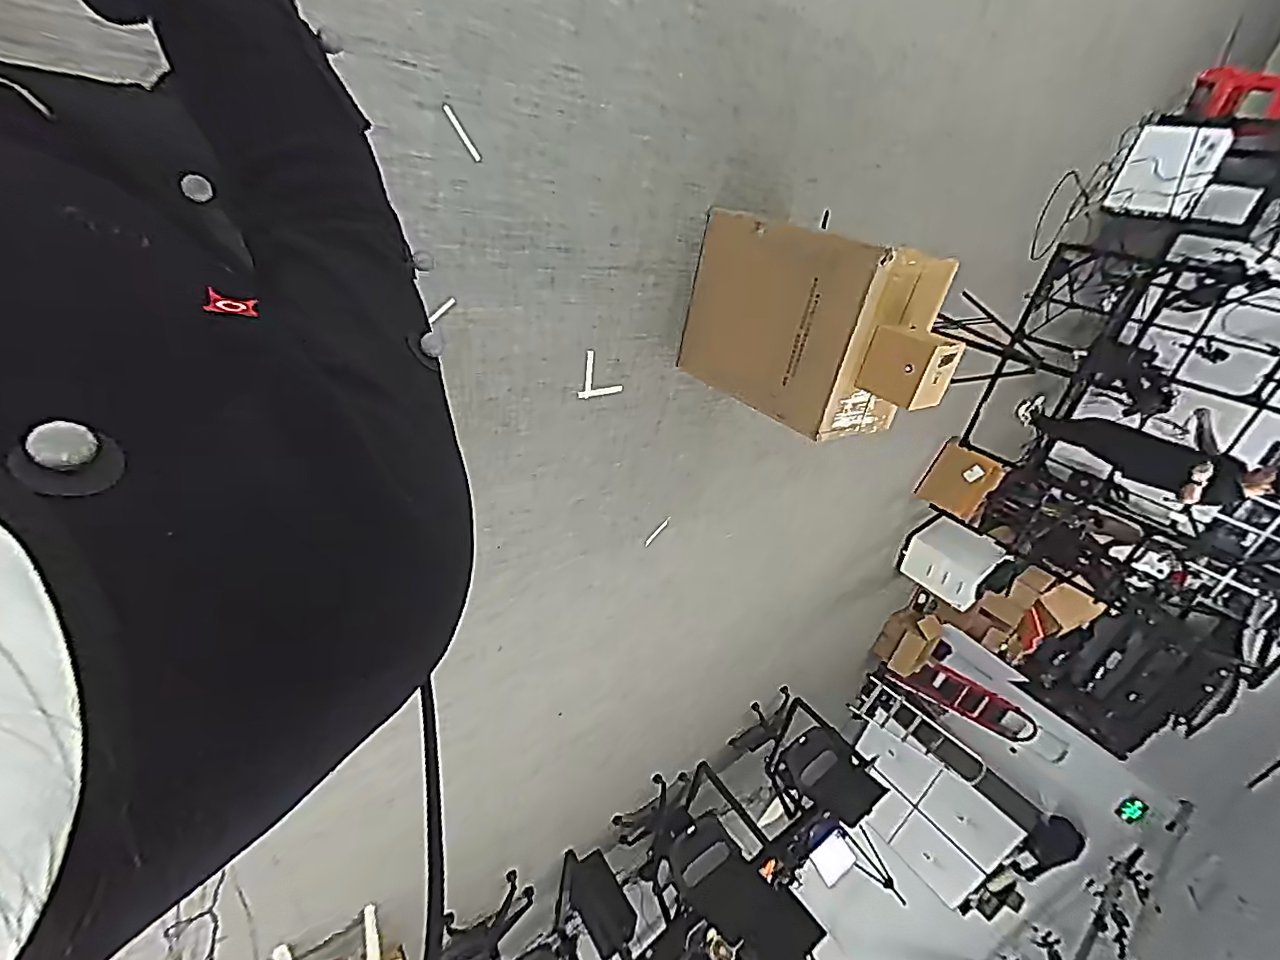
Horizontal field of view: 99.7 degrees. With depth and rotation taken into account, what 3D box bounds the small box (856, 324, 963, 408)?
[{"bbox_3d":[0.715,-0.312,1.451,0.168,0.176,0.179,-12,127,-36],"label":"small box"}]
